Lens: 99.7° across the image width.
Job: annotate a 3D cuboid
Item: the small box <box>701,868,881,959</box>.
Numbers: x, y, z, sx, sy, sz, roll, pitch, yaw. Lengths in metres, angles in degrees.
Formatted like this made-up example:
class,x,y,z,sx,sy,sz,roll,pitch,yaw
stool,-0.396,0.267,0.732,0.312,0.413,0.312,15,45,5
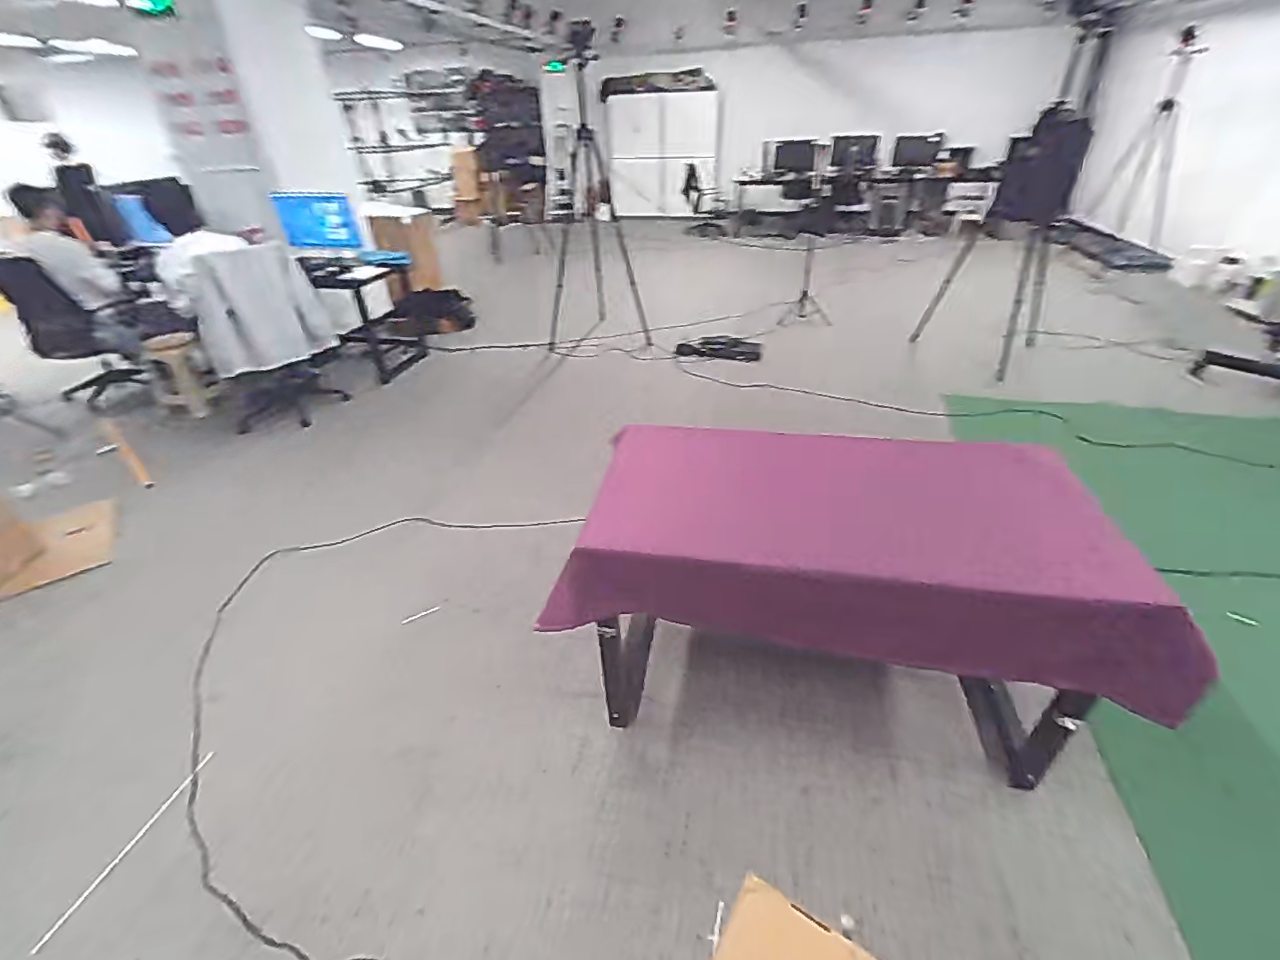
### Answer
class,x,y,z,sx,sy,sz,roll,pitch,yaw
small box,0.111,0.419,0.386,0.168,0.176,0.179,22,61,24
